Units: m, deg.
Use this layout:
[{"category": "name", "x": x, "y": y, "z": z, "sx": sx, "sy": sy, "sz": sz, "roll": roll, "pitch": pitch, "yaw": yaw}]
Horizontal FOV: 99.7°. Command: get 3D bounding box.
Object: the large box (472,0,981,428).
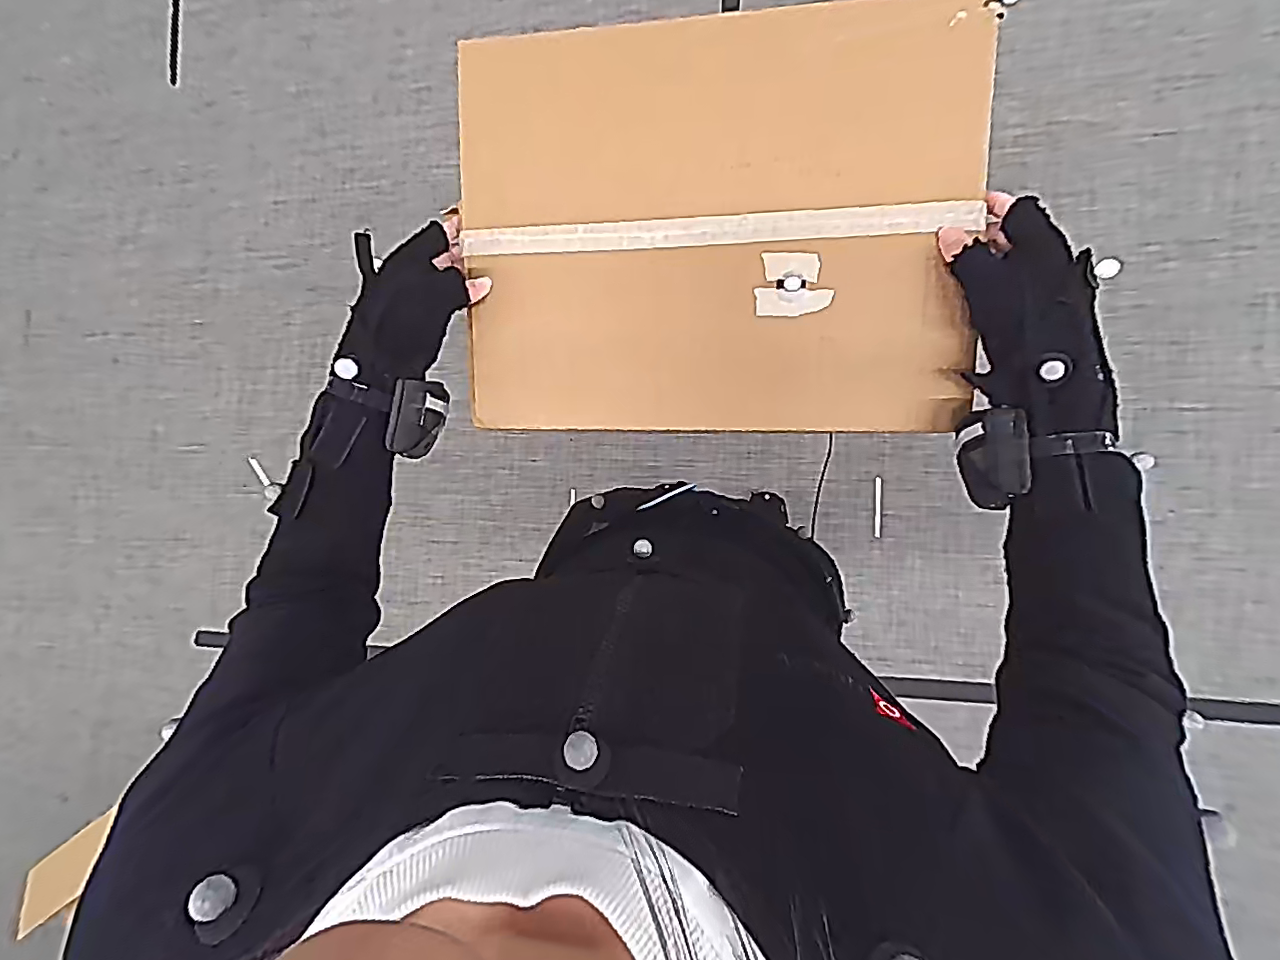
[{"category": "large box", "x": 0.076, "y": -0.218, "z": 0.587, "sx": 0.408, "sy": 0.320, "sz": 0.320, "roll": 1, "pitch": 97, "yaw": 8}]
